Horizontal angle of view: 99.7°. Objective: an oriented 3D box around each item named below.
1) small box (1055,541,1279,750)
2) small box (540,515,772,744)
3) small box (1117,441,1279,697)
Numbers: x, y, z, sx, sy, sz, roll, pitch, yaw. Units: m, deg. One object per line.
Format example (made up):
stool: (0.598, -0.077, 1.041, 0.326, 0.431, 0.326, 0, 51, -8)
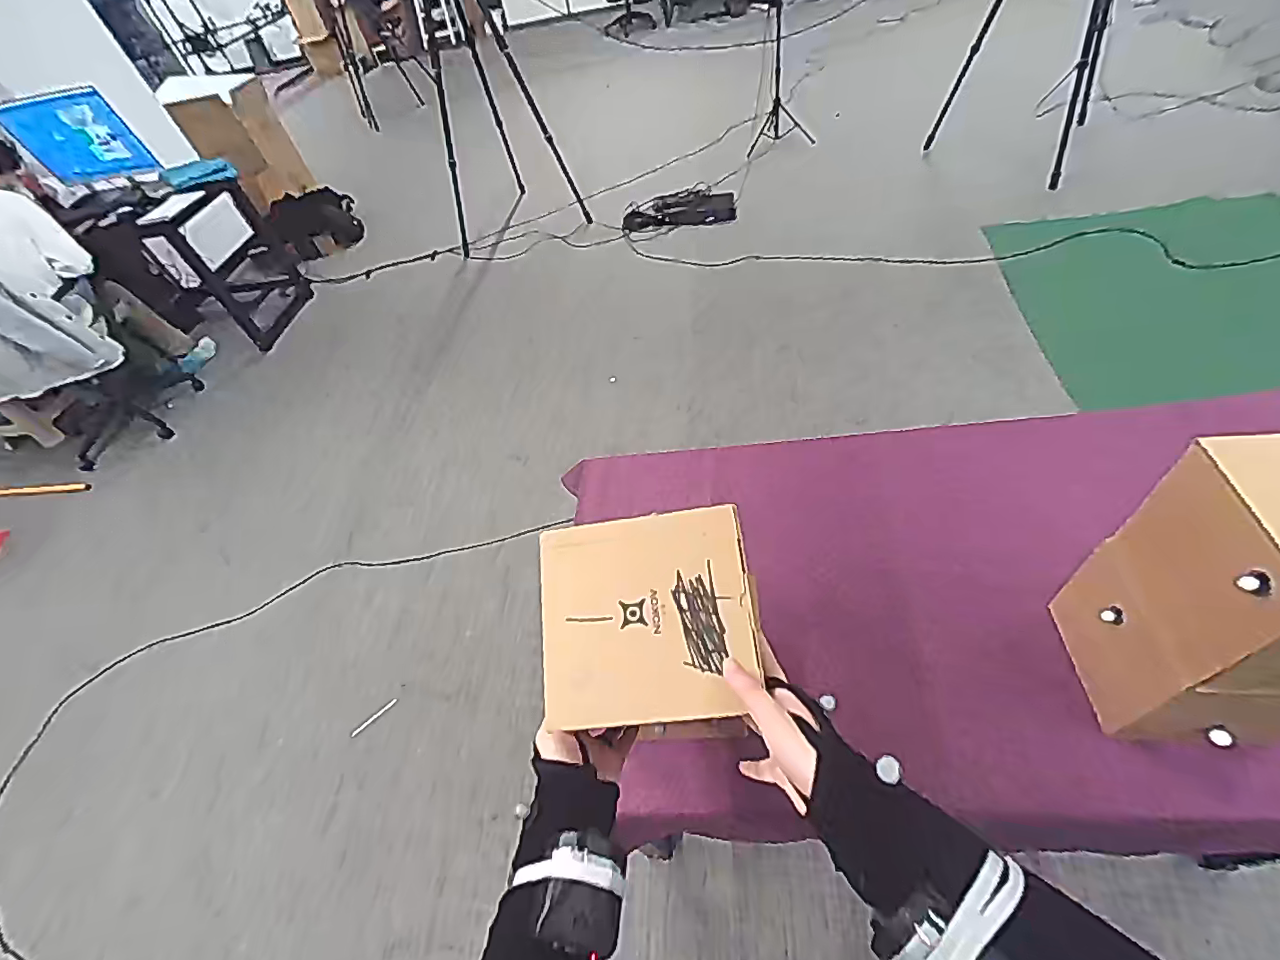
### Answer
small box: (0.618, 0.186, 0.611, 0.168, 0.176, 0.179, -3, 50, 11)
small box: (0.019, 0.141, 0.508, 0.179, 0.176, 0.168, -9, 69, 8)
small box: (0.593, 0.081, 0.488, 0.168, 0.176, 0.179, -2, 51, 10)
